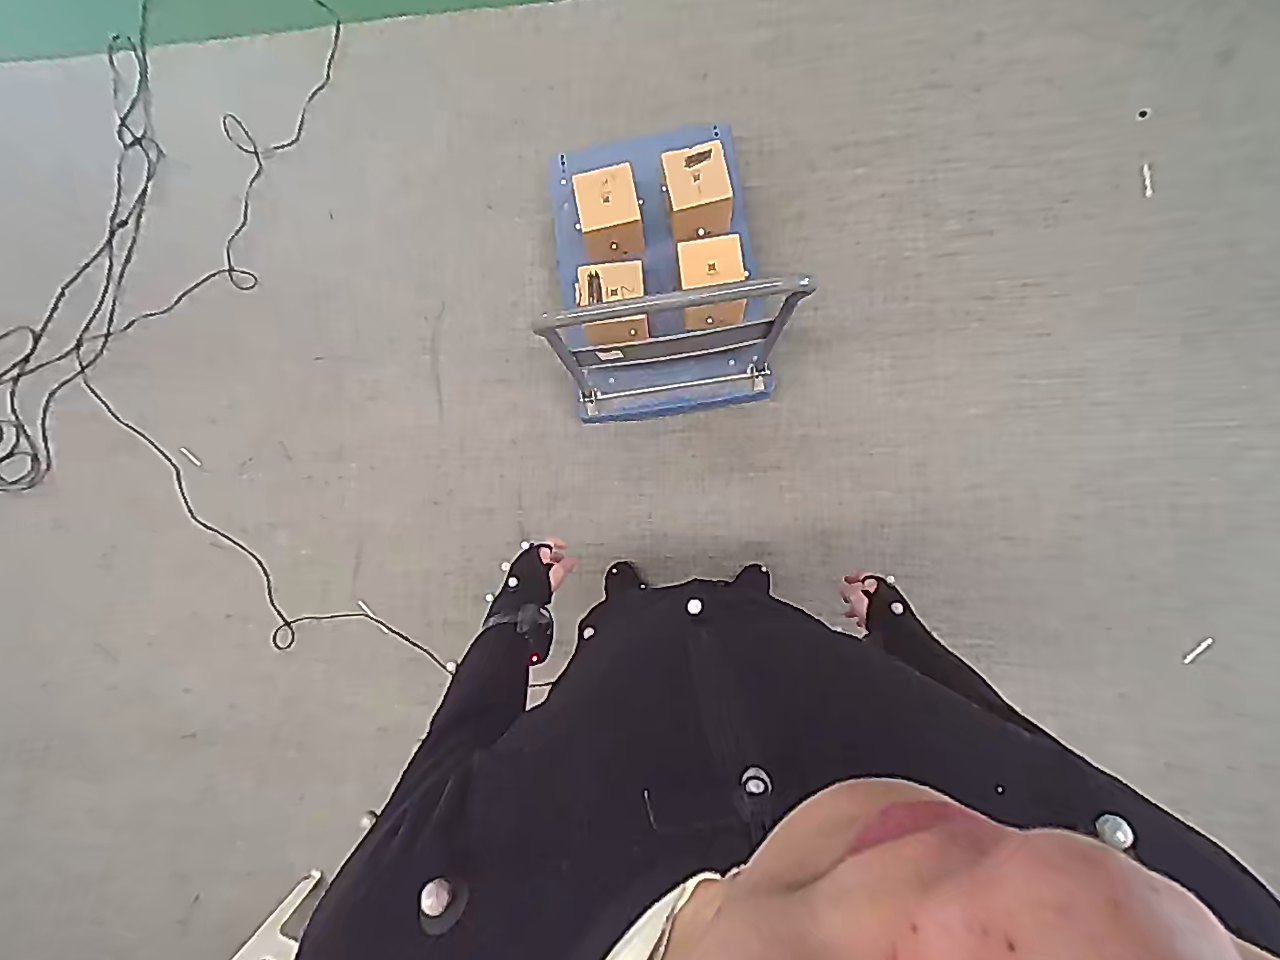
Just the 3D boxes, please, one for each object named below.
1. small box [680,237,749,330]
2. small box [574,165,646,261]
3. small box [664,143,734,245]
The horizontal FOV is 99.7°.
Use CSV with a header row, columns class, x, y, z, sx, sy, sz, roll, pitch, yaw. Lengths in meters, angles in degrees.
class,x,y,z,sx,sy,sz,roll,pitch,yaw
small box,0.199,-0.537,1.494,0.168,0.176,0.179,-7,82,4
small box,-0.082,-0.751,1.547,0.168,0.176,0.179,-11,82,3
small box,0.165,-0.802,1.530,0.168,0.176,0.179,-11,83,5
